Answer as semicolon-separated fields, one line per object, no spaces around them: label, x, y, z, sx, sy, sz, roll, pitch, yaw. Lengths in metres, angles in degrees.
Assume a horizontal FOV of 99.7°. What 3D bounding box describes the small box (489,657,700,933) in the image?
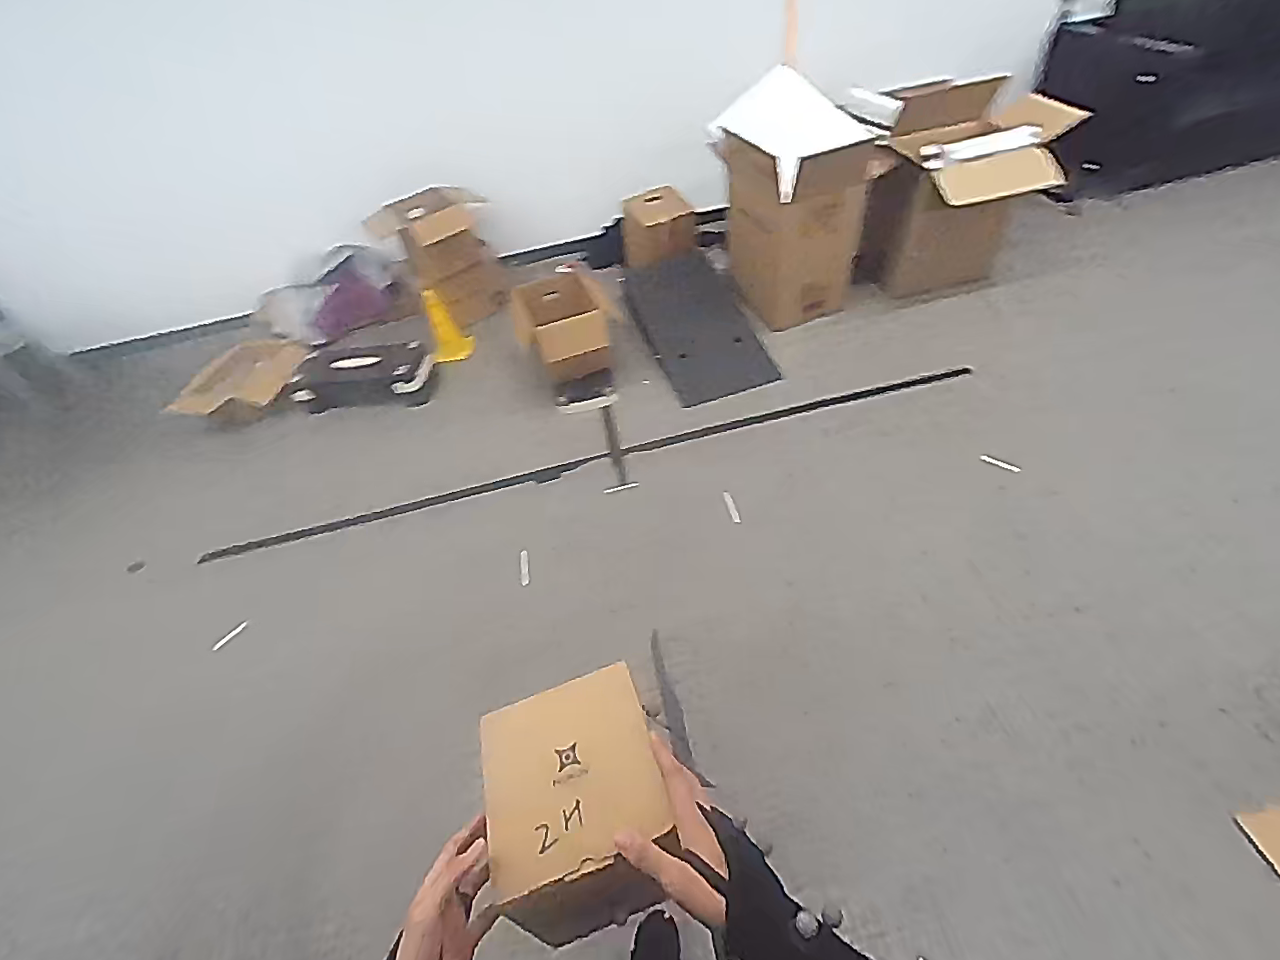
small box;-0.048;0.327;0.568;0.168;0.176;0.179;-19;40;-5
